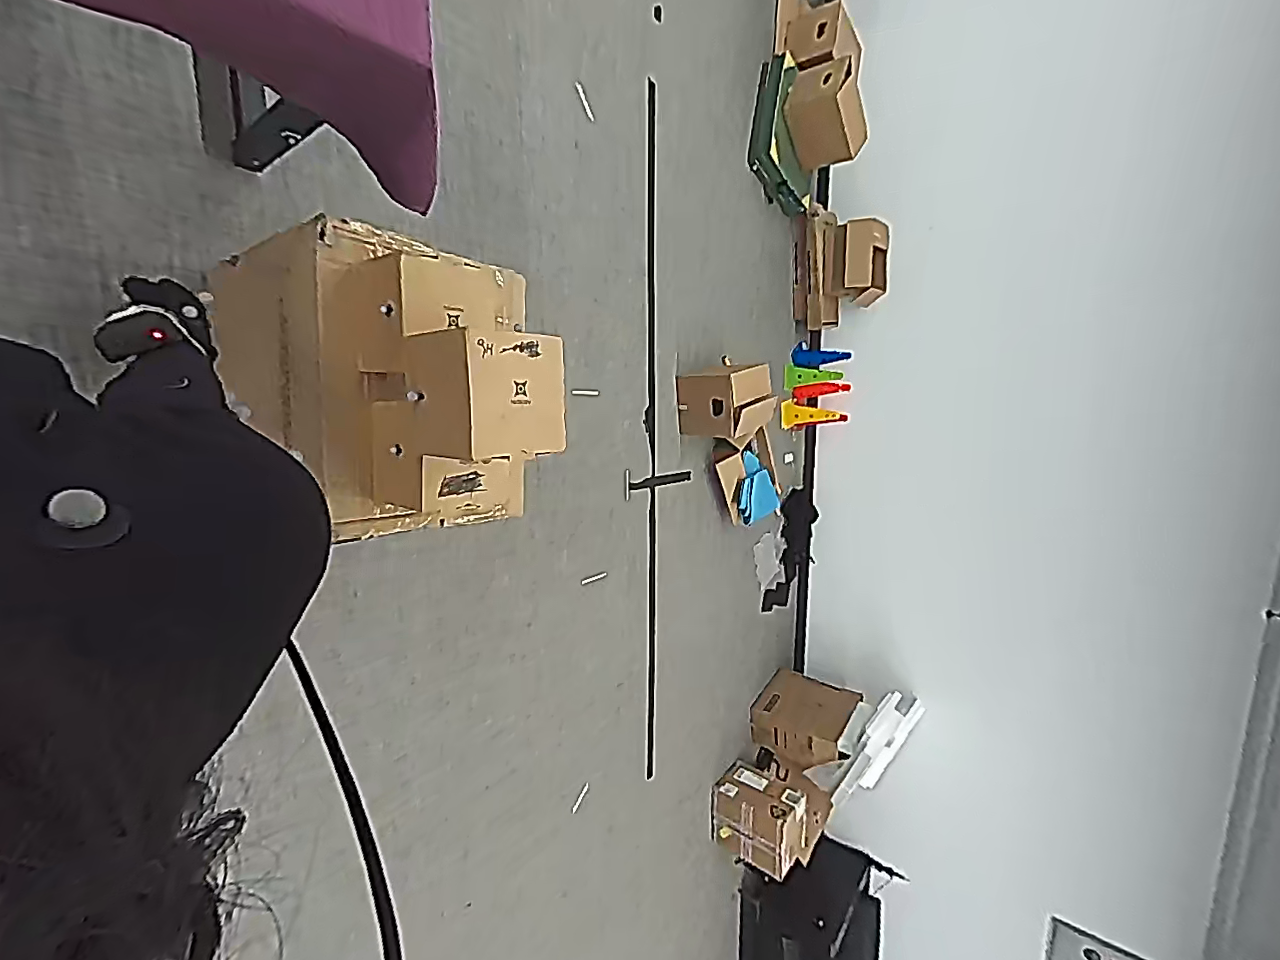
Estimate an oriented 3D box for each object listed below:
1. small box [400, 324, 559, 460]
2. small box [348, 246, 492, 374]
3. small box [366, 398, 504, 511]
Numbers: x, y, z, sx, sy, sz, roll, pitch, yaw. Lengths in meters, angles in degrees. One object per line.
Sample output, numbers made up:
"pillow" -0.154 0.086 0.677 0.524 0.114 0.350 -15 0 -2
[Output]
"small box" -0.238 -0.128 0.805 0.168 0.176 0.179 -10 103 -50
"small box" -0.362 -0.264 0.891 0.168 0.176 0.179 -9 104 -50
"small box" -0.354 -0.047 0.934 0.168 0.176 0.179 -3 96 -51
